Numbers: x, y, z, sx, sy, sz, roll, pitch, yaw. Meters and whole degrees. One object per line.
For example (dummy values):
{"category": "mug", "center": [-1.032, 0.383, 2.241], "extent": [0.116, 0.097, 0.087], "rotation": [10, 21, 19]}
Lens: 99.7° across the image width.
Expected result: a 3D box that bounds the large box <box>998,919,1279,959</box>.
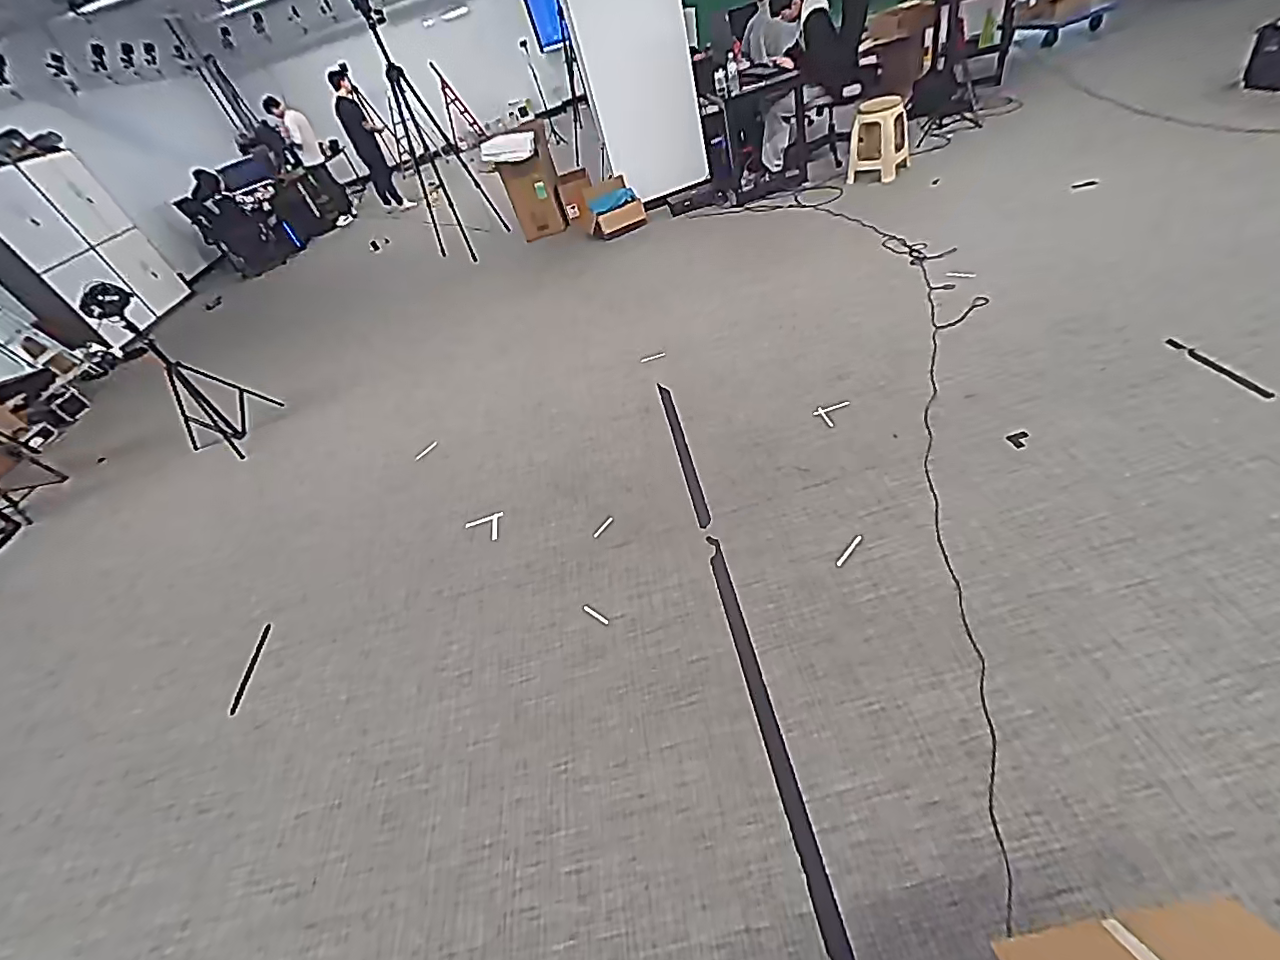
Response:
{"category": "large box", "center": [0.635, 0.721, 0.498], "extent": [0.320, 0.408, 0.320], "rotation": [-16, 80, 6]}
